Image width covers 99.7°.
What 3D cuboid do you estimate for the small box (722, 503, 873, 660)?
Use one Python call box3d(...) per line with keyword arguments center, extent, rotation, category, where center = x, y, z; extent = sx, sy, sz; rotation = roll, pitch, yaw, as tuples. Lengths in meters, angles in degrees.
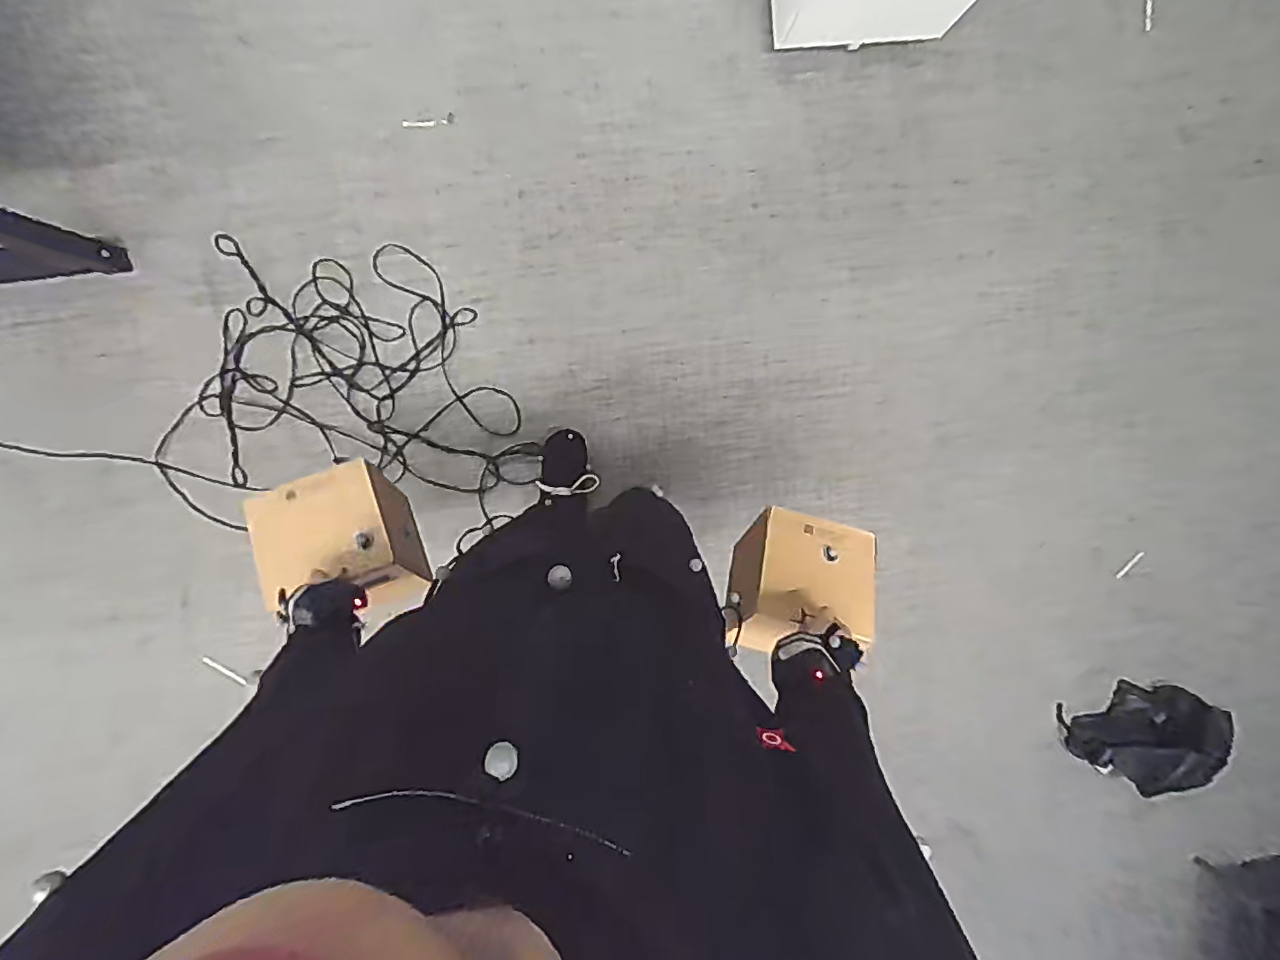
box3d(center=(0.240, 0.158, 0.828), extent=(0.168, 0.179, 0.176), rotation=(16, 61, -2), category="small box")
